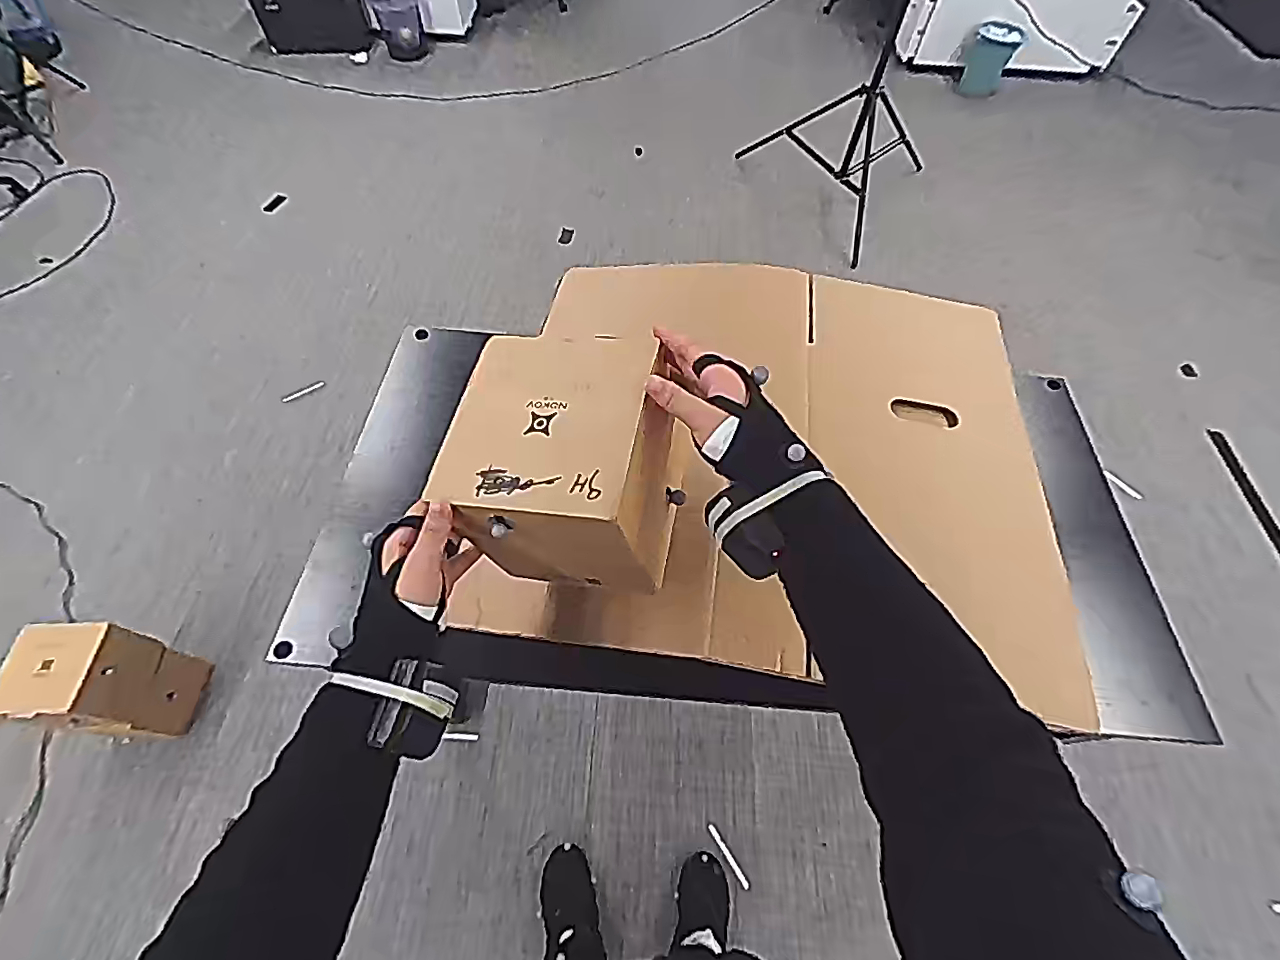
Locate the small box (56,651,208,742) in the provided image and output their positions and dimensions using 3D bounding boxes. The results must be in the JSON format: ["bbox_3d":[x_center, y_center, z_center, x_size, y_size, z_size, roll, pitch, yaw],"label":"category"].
[{"bbox_3d":[-1.161,0.504,1.258,0.168,0.176,0.179,1,60,-1],"label":"small box"}]

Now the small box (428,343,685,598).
[{"bbox_3d":[-0.058,-0.008,0.510,0.168,0.176,0.179,4,60,17],"label":"small box"}]

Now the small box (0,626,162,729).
[{"bbox_3d":[-1.157,0.415,1.122,0.168,0.176,0.179,-1,58,-4],"label":"small box"}]
